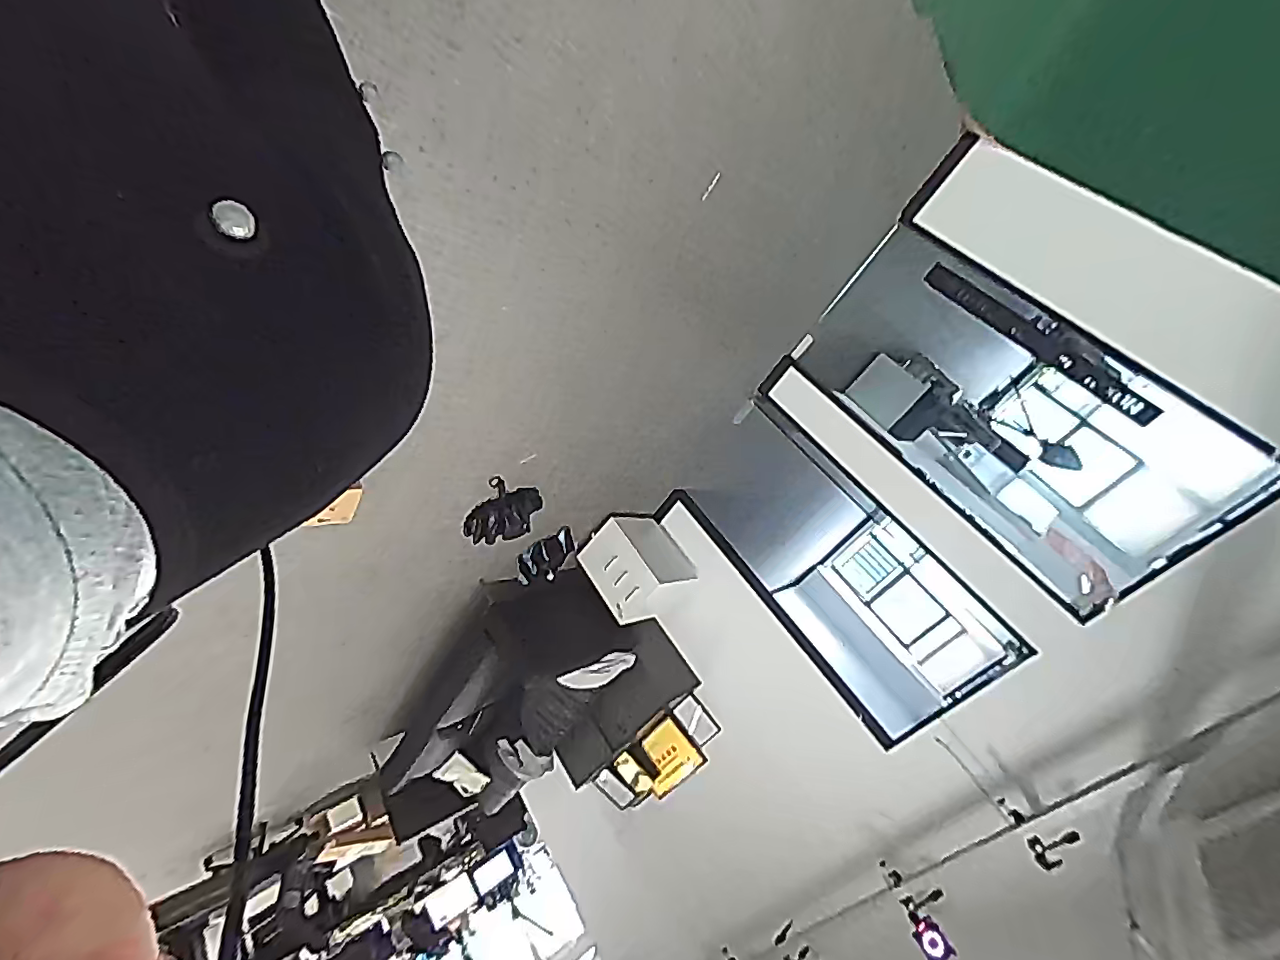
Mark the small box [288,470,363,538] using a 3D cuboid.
[{"bbox_3d":[-1.111,0.076,1.901,0.168,0.176,0.179,-3,136,-51],"label":"small box"}]
